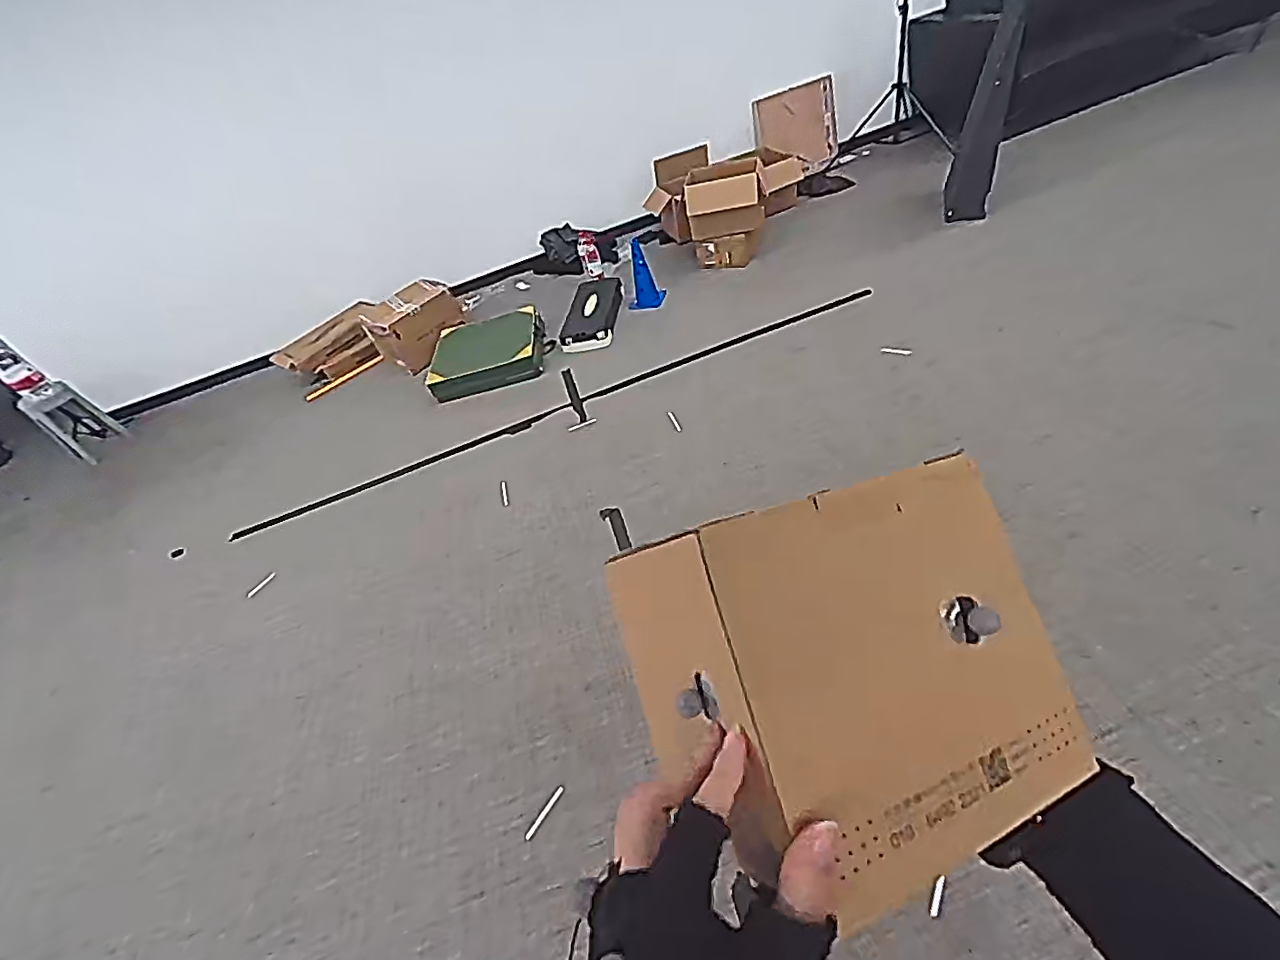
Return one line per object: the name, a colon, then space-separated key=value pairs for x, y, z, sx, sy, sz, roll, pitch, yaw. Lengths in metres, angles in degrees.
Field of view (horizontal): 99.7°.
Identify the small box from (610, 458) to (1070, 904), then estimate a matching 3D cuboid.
small box: x=0.098 y=0.103 z=0.323 sx=0.168 sy=0.179 sz=0.176 roll=-14 pitch=82 yaw=-19
